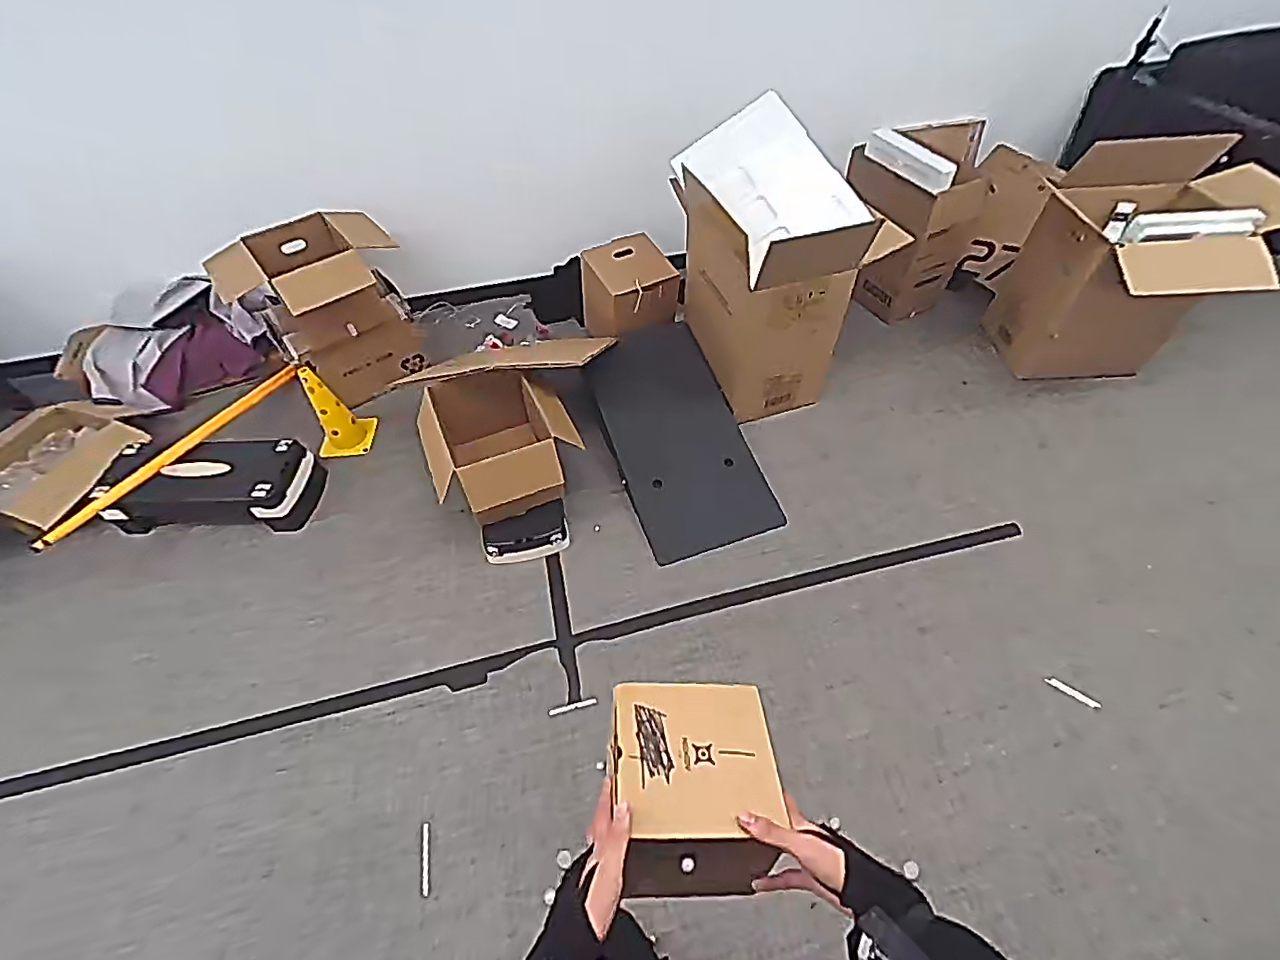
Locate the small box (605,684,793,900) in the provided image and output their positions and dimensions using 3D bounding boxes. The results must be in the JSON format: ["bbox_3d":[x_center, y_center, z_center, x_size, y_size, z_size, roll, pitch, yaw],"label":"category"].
[{"bbox_3d":[0.051,0.356,0.620,0.179,0.176,0.168,4,36,-6],"label":"small box"}]
